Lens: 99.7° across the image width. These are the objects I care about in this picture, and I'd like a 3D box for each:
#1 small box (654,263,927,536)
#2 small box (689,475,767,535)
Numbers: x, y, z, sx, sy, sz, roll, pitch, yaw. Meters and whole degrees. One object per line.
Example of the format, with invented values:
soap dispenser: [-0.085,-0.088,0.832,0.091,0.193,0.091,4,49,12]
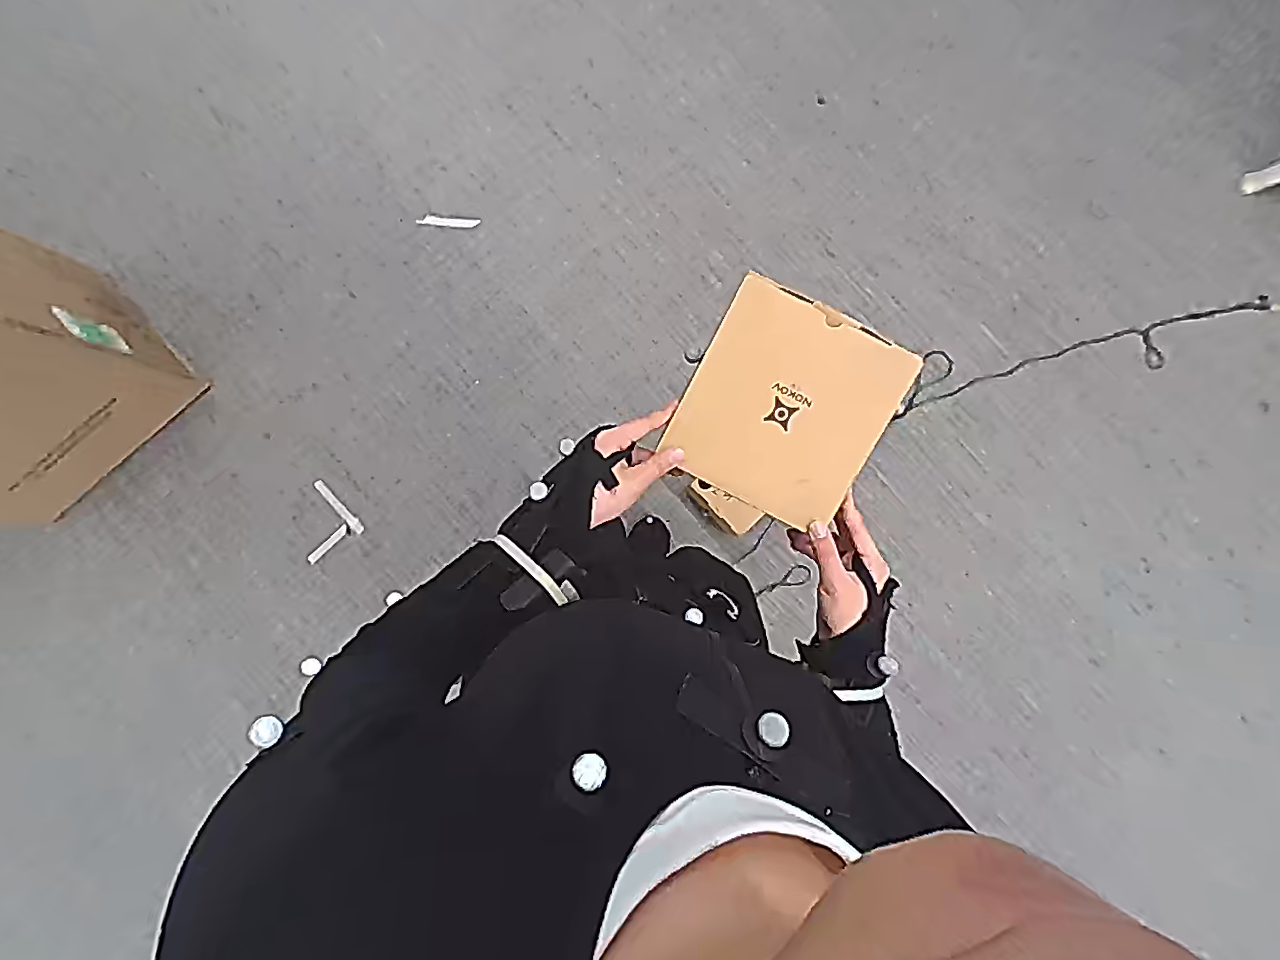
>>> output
small box: [0.129,-0.074,0.526,0.168,0.176,0.179,27,99,0]
small box: [0.232,0.010,1.287,0.179,0.176,0.168,-43,88,-2]
